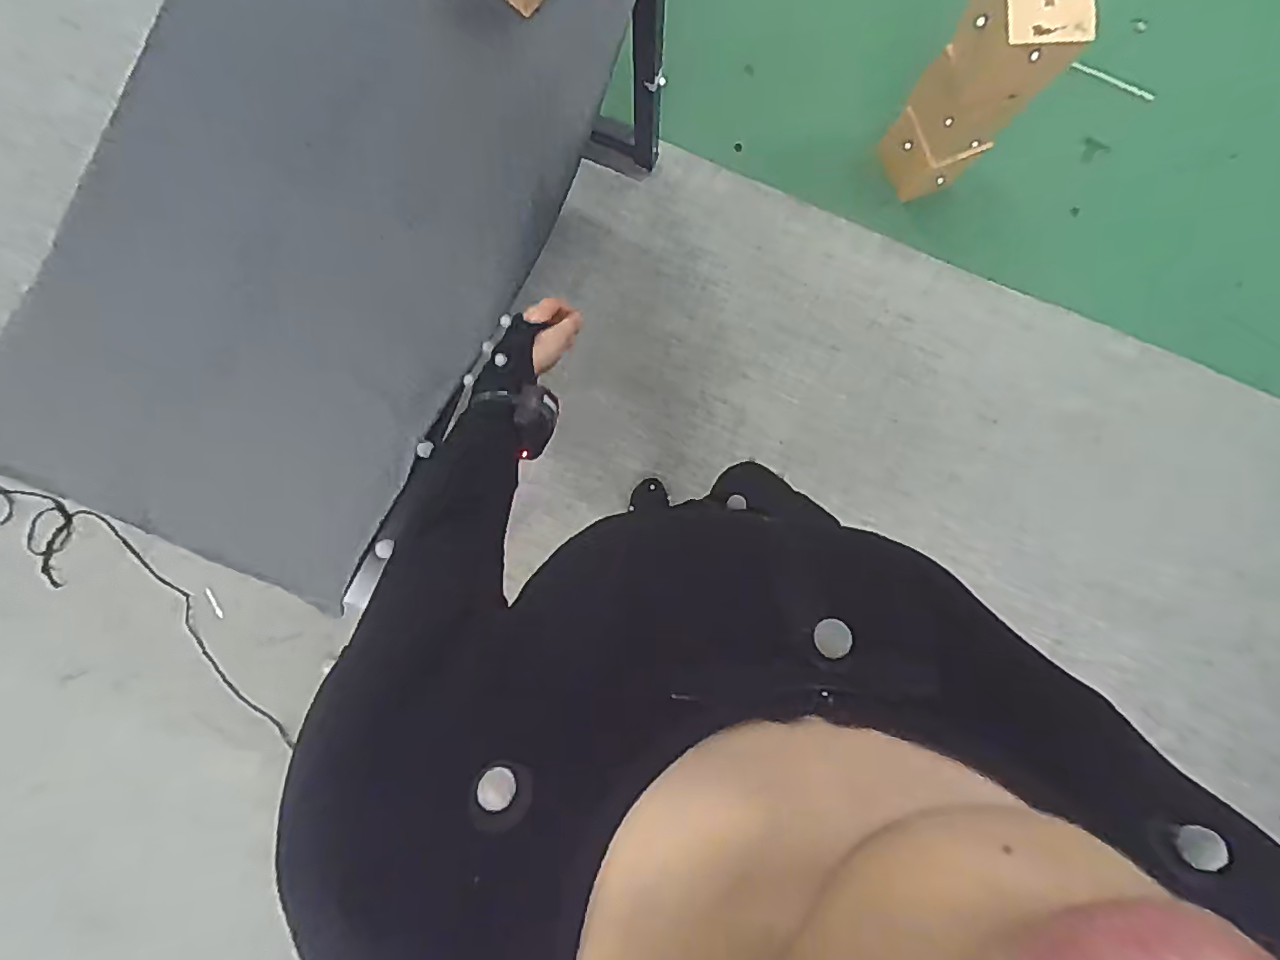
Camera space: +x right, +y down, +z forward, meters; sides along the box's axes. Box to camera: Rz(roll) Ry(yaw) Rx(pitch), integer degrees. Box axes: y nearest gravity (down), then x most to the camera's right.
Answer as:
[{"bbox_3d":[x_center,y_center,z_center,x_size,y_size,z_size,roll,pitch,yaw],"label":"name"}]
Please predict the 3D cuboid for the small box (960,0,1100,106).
[{"bbox_3d":[0.775,-0.901,1.093,0.168,0.176,0.179,-2,89,1],"label":"small box"}]

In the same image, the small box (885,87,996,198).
[{"bbox_3d":[0.780,-0.875,1.421,0.168,0.176,0.179,-22,88,0],"label":"small box"}]

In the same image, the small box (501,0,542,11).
[{"bbox_3d":[-0.170,-0.766,0.692,0.179,0.176,0.168,43,89,3],"label":"small box"}]
